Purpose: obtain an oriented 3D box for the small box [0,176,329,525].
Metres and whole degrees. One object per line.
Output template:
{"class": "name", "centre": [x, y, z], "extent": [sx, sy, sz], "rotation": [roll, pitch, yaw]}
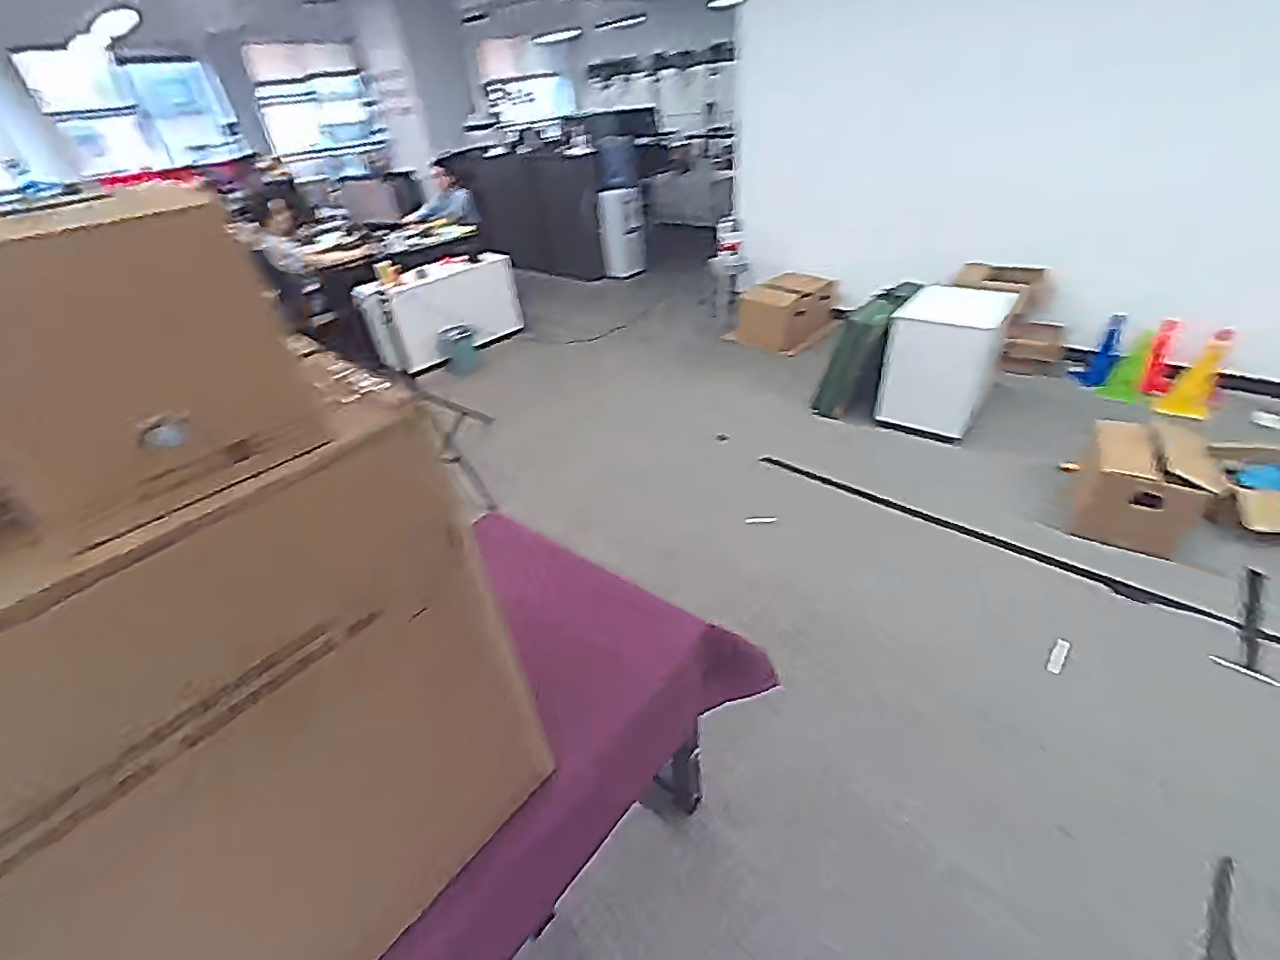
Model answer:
{"class": "small box", "centre": [-0.352, -0.097, 0.366], "extent": [0.179, 0.176, 0.168], "rotation": [27, 47, 36]}
